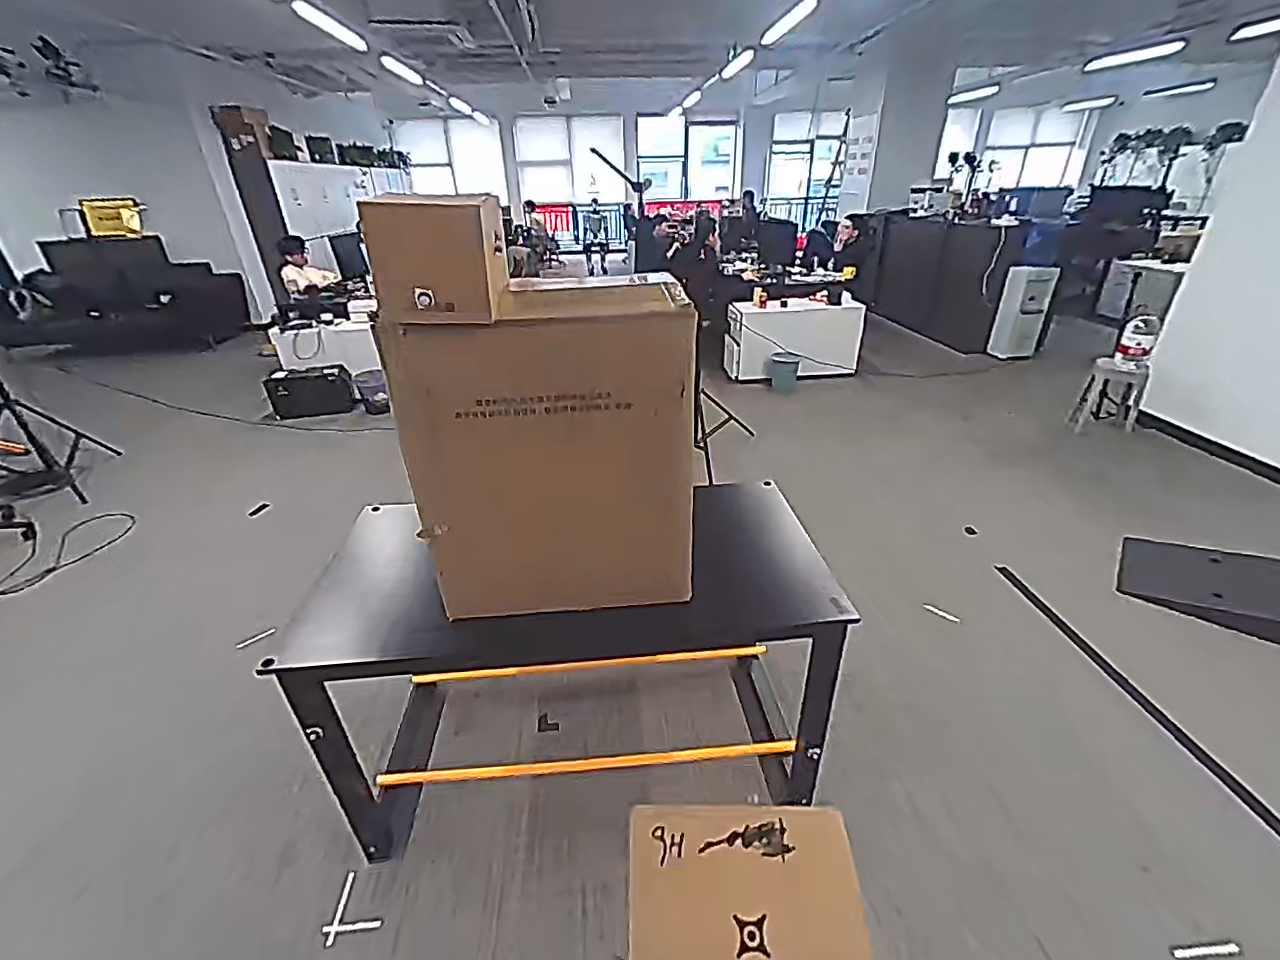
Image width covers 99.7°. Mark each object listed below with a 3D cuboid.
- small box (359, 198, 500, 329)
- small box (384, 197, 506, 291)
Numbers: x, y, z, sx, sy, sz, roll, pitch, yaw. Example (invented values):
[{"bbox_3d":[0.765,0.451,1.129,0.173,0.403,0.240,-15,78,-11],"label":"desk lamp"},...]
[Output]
[{"bbox_3d":[-0.318,-0.344,0.855,0.168,0.176,0.179,-5,32,-9],"label":"small box"},{"bbox_3d":[-0.355,-0.438,1.019,0.168,0.176,0.179,-2,28,-1],"label":"small box"}]
